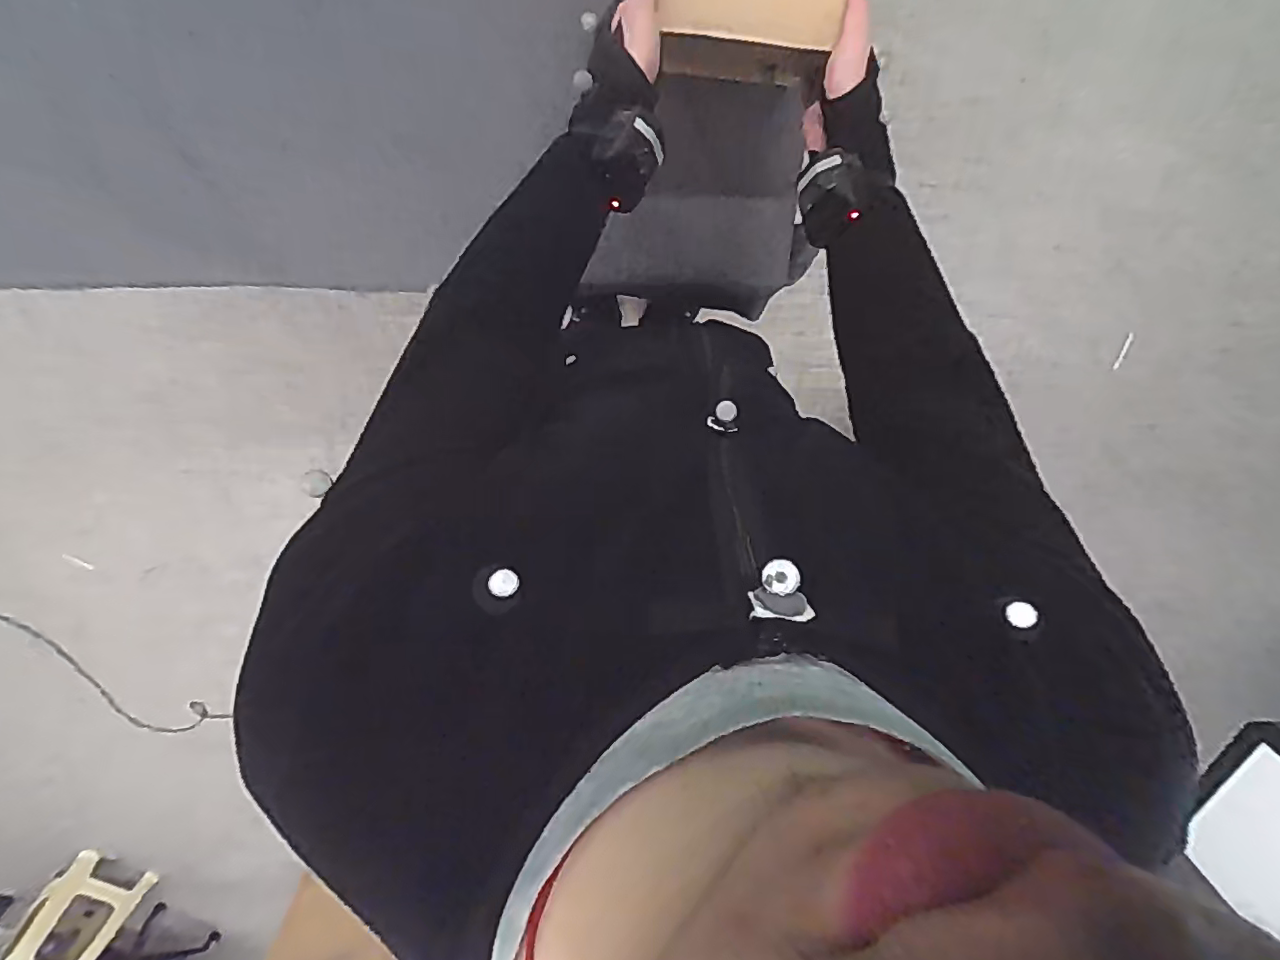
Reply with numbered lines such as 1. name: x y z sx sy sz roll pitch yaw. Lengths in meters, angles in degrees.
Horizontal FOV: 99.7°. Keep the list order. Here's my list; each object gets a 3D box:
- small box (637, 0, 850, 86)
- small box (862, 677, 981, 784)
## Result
1. small box: 0.091 -0.477 0.492 0.179 0.176 0.168 4 117 -2
2. small box: 0.651 0.588 1.278 0.168 0.176 0.179 3 120 -4
